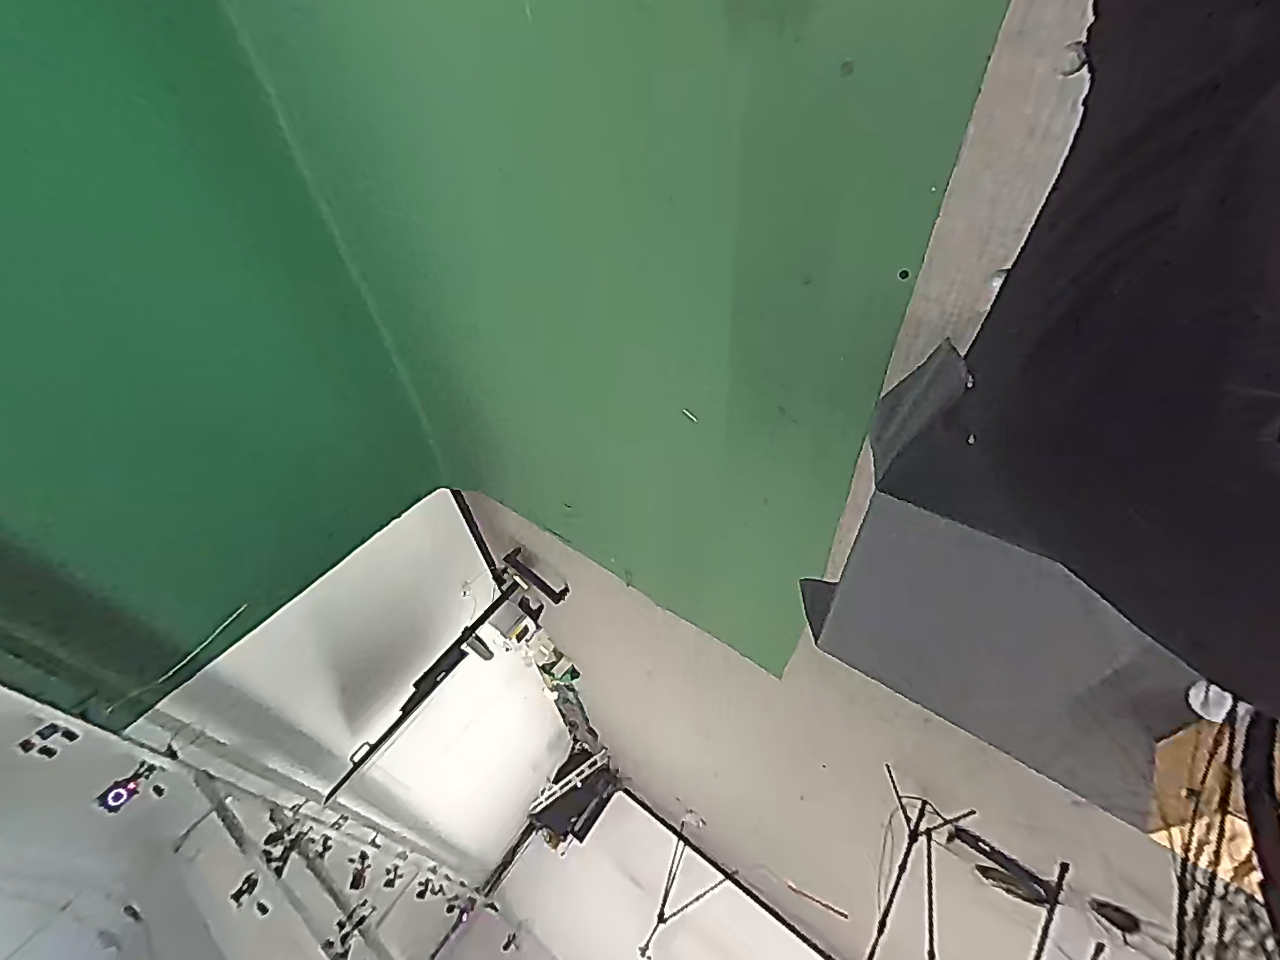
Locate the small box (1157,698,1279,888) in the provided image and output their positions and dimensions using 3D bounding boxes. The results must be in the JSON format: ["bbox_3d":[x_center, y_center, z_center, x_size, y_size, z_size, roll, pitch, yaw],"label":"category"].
[{"bbox_3d":[0.903,0.449,0.779,0.168,0.176,0.179,26,146,27],"label":"small box"}]
